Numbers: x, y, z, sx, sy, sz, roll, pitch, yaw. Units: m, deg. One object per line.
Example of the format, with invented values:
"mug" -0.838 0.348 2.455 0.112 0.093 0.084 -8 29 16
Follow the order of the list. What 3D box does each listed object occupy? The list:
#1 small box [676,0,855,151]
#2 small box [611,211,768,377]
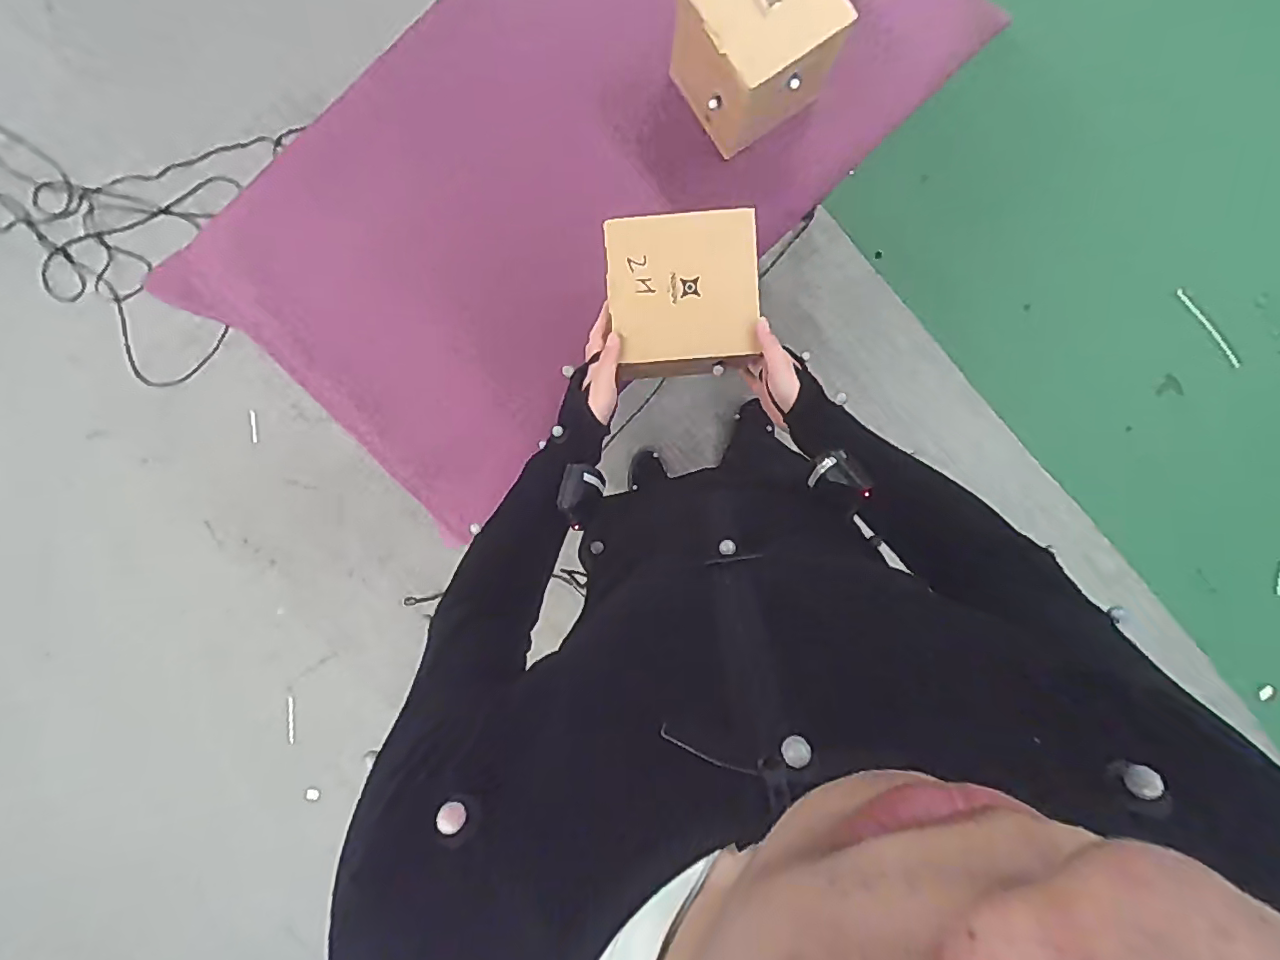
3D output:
"small box" 0.164 -0.623 0.774 0.179 0.176 0.168 -34 94 0
"small box" 0.059 -0.226 0.697 0.179 0.176 0.168 -3 95 3
